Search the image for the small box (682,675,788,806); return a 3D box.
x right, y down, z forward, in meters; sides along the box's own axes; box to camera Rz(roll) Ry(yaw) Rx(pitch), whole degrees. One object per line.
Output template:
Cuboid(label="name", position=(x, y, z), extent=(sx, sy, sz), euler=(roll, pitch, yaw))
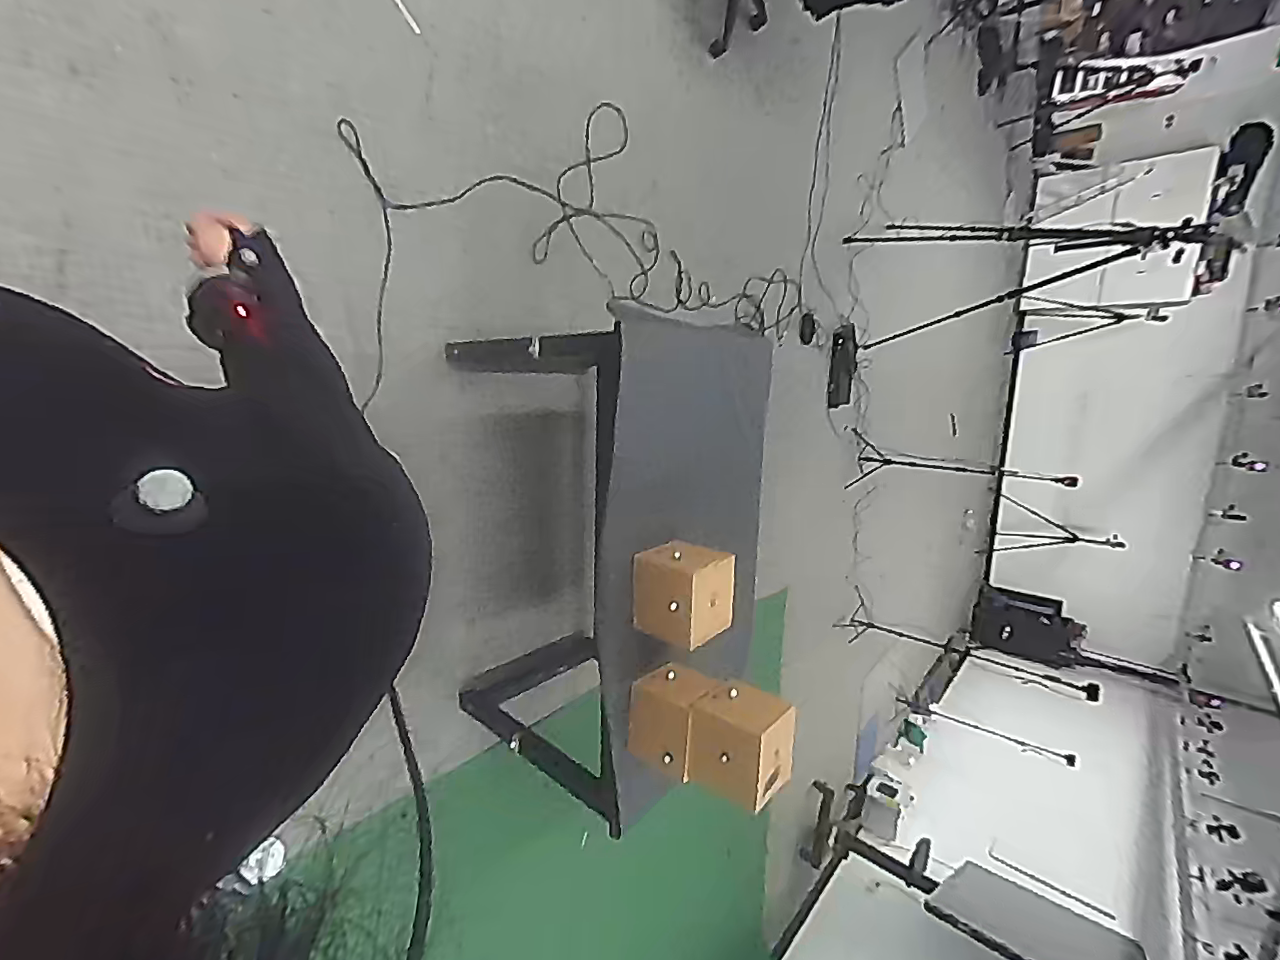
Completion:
Cuboid(label="small box", position=(0.206, 0.558, 1.184), extent=(0.168, 0.176, 0.179), euler=(-6, 100, -51))

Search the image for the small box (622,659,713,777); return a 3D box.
Cuboid(label="small box", position=(0.072, 0.552, 1.280), extent=(0.168, 0.176, 0.179), euler=(-4, 100, -51))

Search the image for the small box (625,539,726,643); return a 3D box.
Cuboid(label="small box", position=(0.080, 0.240, 1.232), extent=(0.168, 0.176, 0.179), euler=(-12, 107, -48))
